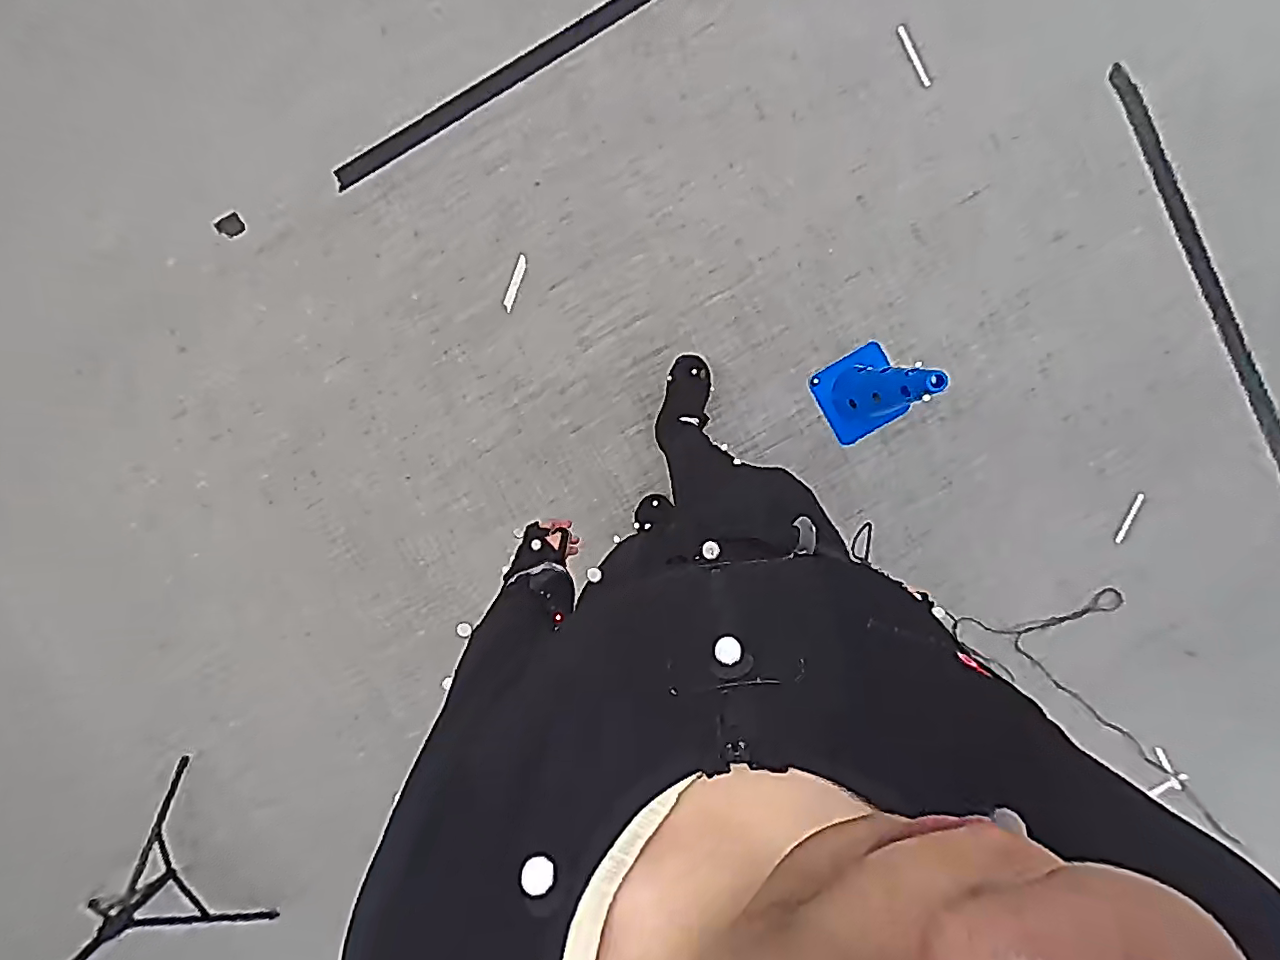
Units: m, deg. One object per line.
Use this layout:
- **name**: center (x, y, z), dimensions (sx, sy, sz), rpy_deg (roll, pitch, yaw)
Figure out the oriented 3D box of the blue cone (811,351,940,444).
- **blue cone**: center (0.539, -0.187, 1.166), dimensions (0.192, 0.380, 0.193), rpy_deg (-29, 95, 3)
